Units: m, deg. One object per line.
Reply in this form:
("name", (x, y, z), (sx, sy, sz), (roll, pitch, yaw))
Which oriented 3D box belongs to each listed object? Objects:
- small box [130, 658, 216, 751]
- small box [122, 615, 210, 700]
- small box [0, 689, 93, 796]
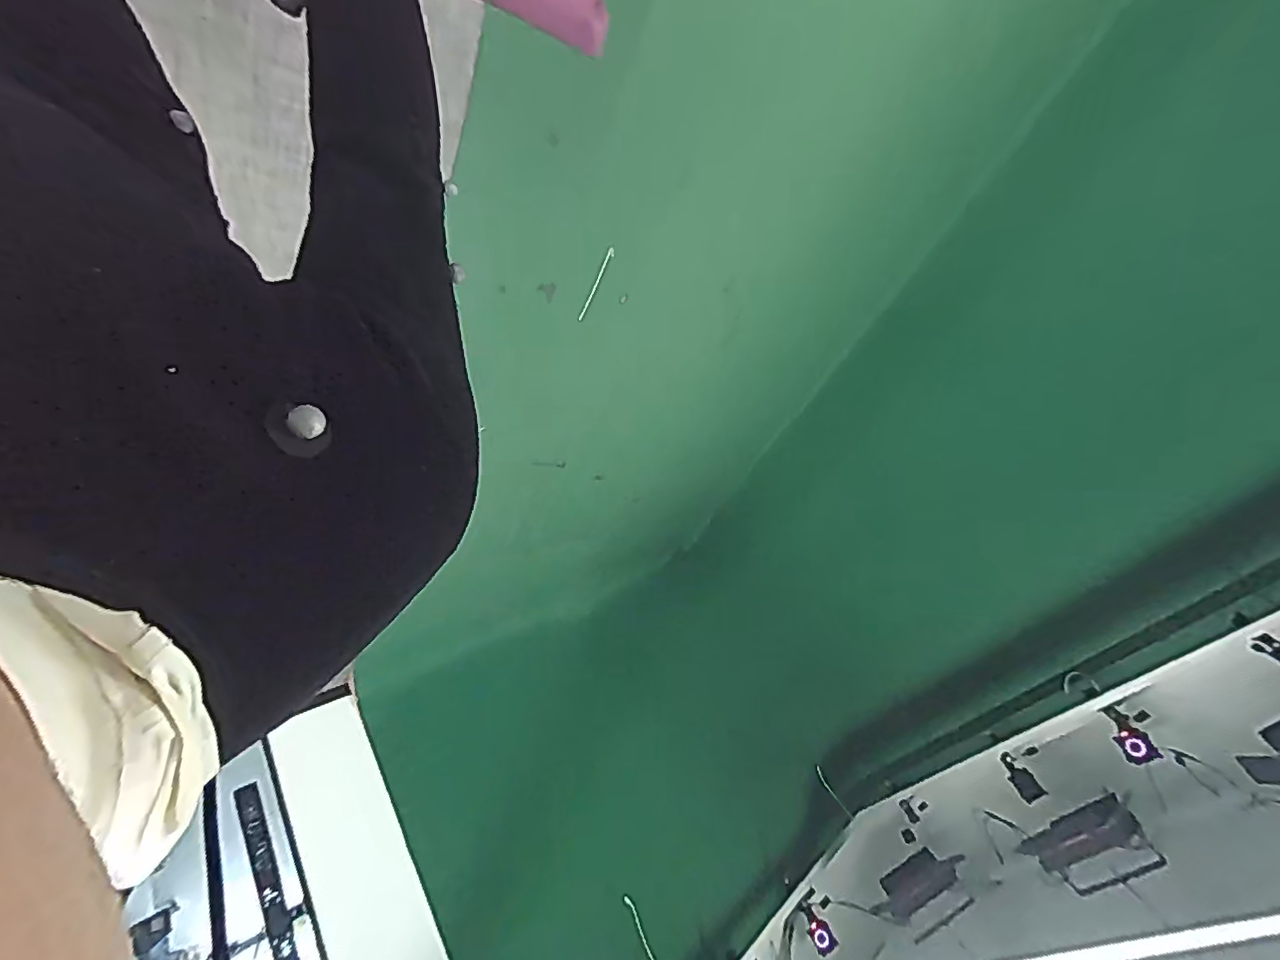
("small box", (-1.379, 0.655, 1.593), (0.168, 0.176, 0.179), (-2, 137, -50))
("small box", (-1.466, 0.540, 1.671), (0.179, 0.176, 0.168), (-2, 138, -50))
("small box", (-1.540, 0.664, 1.394), (0.168, 0.176, 0.179), (-3, 139, -49))
